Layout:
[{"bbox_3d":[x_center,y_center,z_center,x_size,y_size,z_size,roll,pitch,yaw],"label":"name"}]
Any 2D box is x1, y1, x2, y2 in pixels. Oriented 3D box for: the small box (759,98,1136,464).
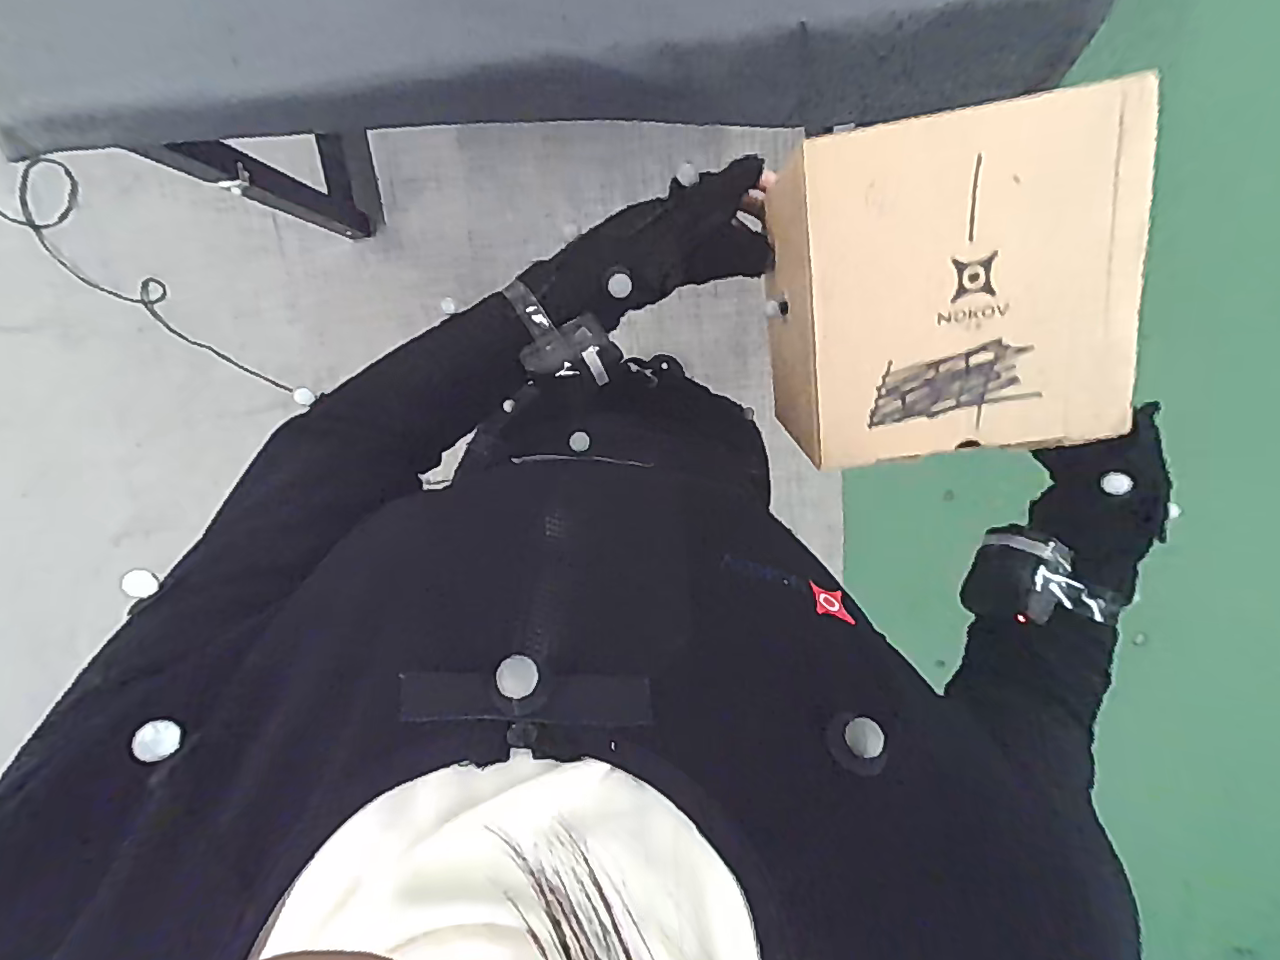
[{"bbox_3d":[0.178,-0.122,0.374,0.168,0.176,0.179,-6,107,7],"label":"small box"}]
